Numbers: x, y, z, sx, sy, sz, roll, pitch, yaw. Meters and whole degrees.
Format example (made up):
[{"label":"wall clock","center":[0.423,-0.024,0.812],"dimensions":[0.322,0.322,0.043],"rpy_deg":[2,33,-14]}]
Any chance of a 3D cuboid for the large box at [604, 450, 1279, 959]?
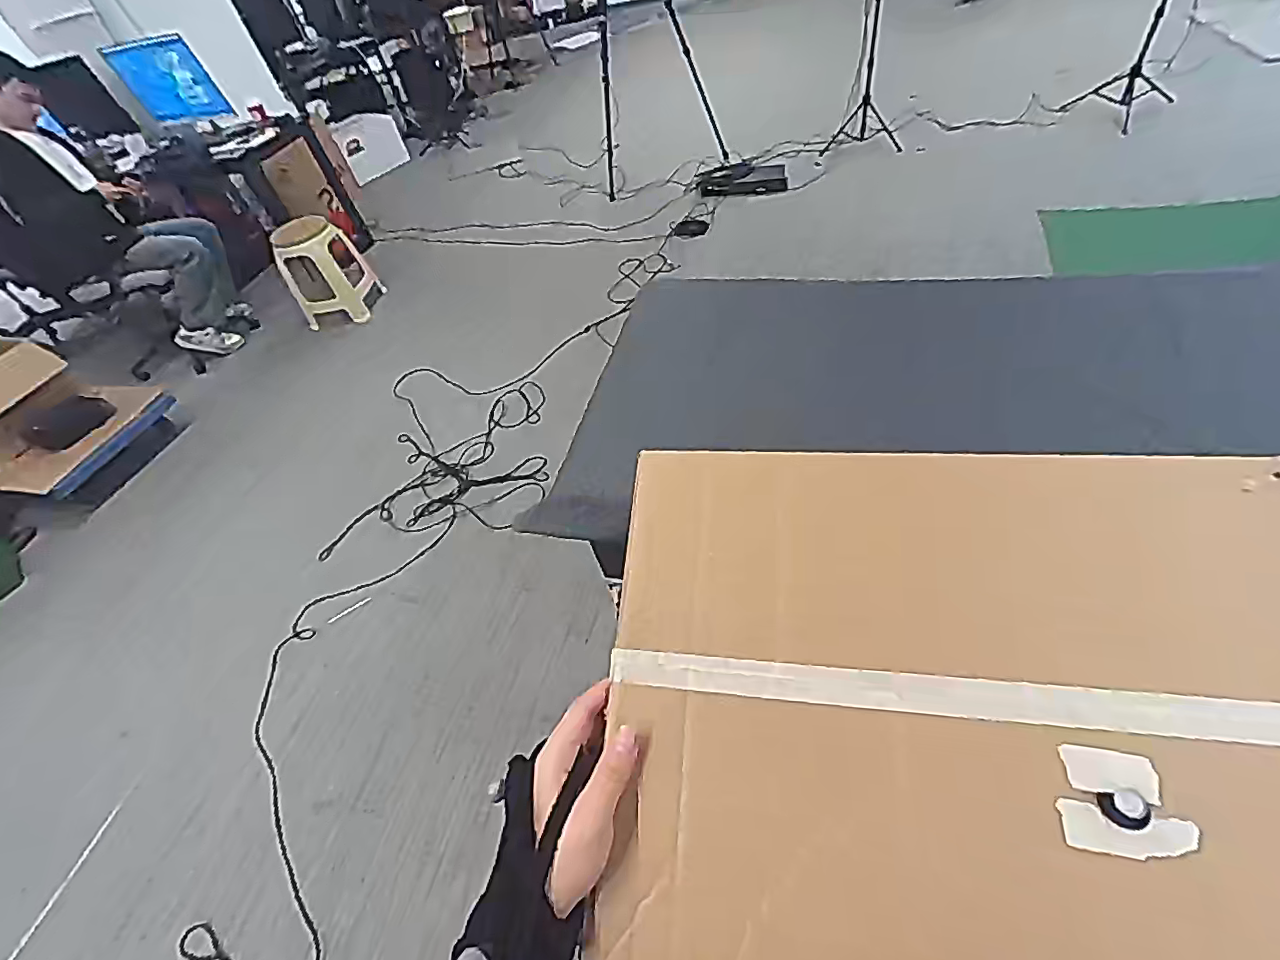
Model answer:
[{"label":"large box","center":[0.208,0.182,0.457],"dimensions":[0.408,0.320,0.320],"rpy_deg":[1,65,11]}]
